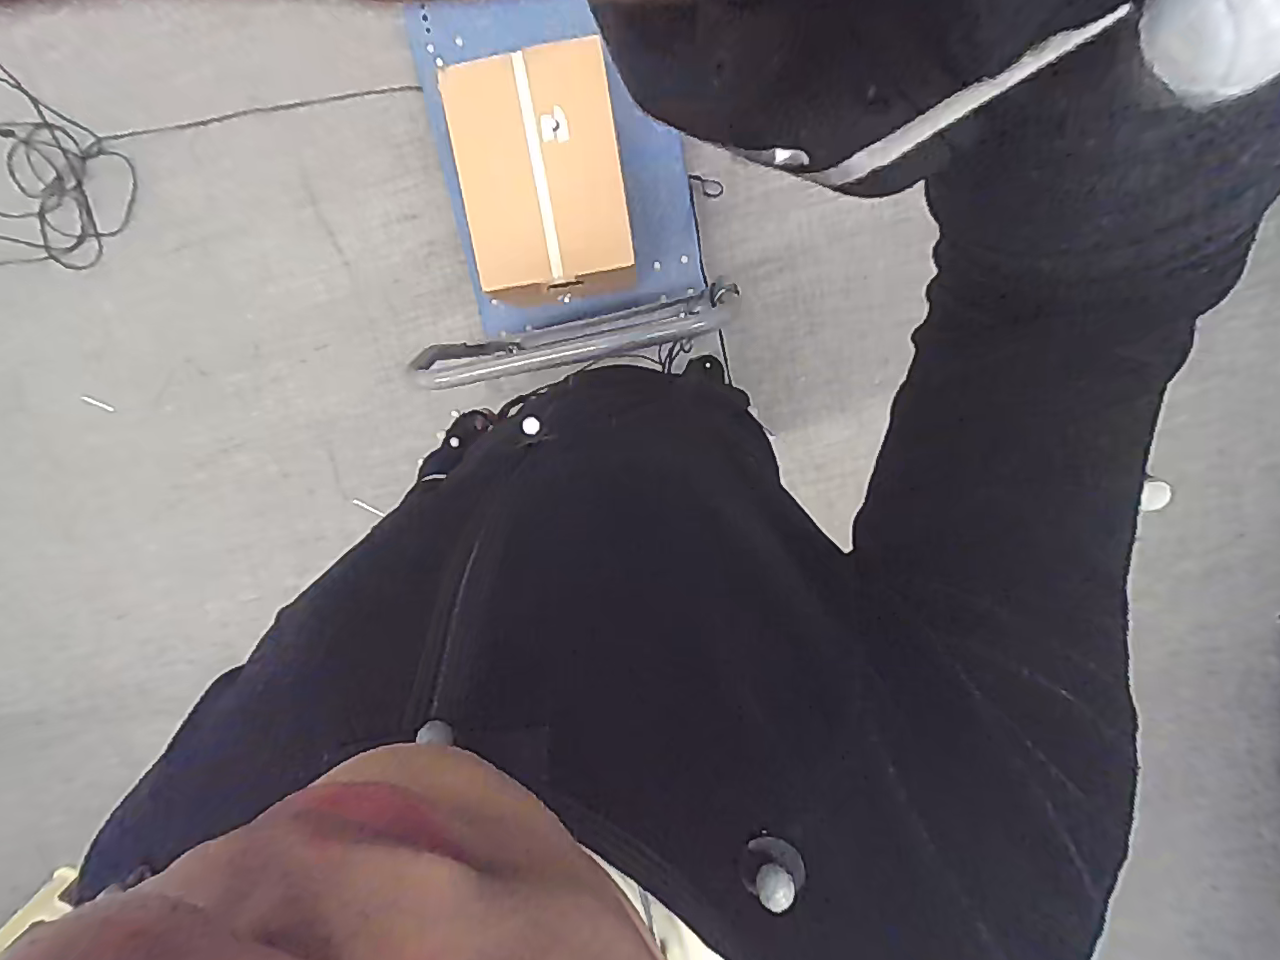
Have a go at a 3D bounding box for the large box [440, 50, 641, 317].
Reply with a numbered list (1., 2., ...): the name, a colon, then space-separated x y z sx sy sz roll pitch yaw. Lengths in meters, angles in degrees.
1. large box: -0.184 -0.599 1.176 0.320 0.320 0.408 -9 100 3
